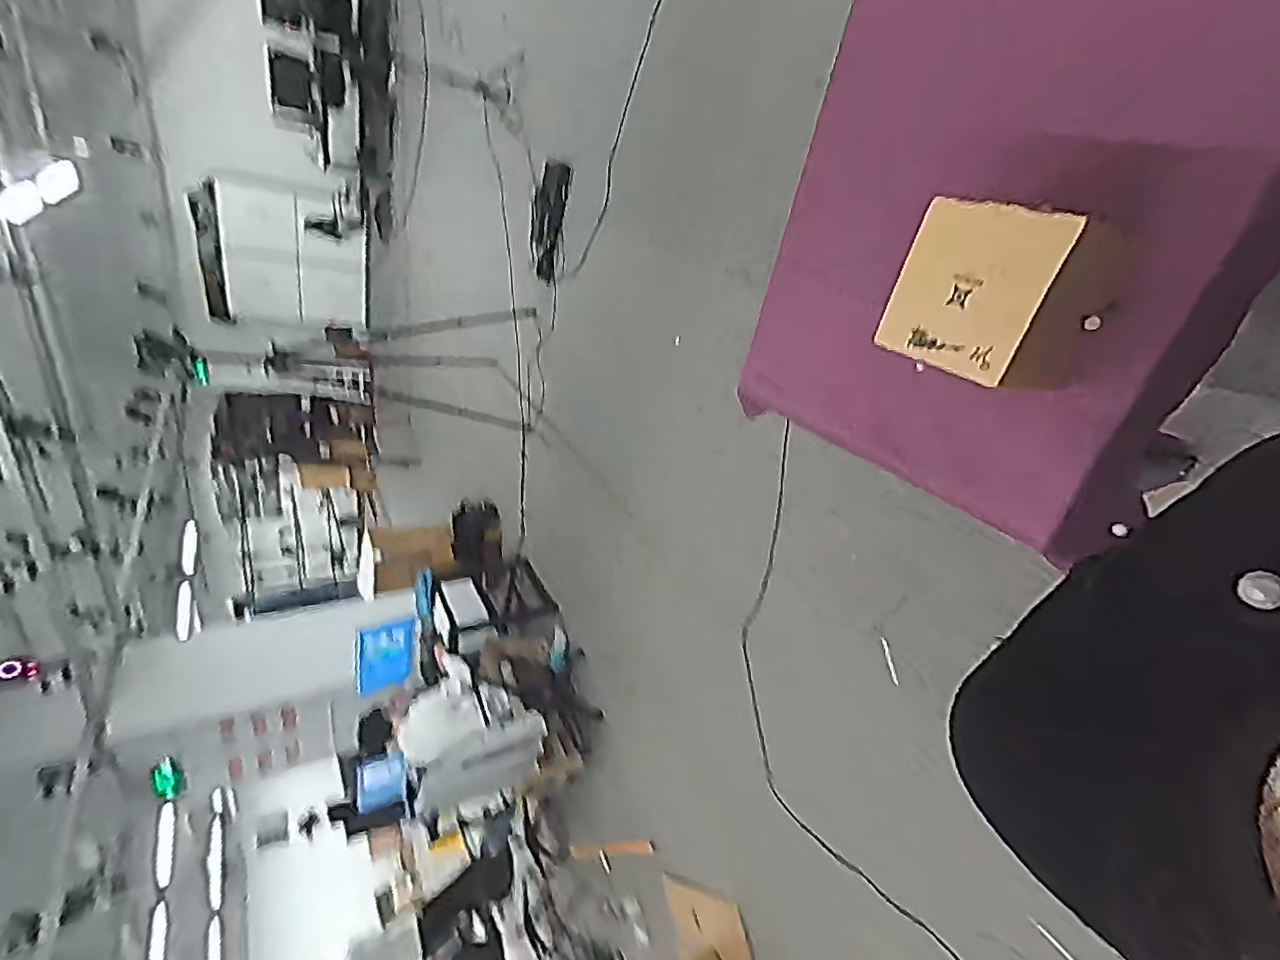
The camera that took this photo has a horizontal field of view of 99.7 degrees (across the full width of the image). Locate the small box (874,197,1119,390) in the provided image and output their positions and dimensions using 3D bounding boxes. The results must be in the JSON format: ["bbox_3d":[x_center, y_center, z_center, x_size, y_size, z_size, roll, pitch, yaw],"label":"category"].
[{"bbox_3d":[0.433,-0.222,0.660,0.168,0.176,0.179,44,128,45],"label":"small box"}]
